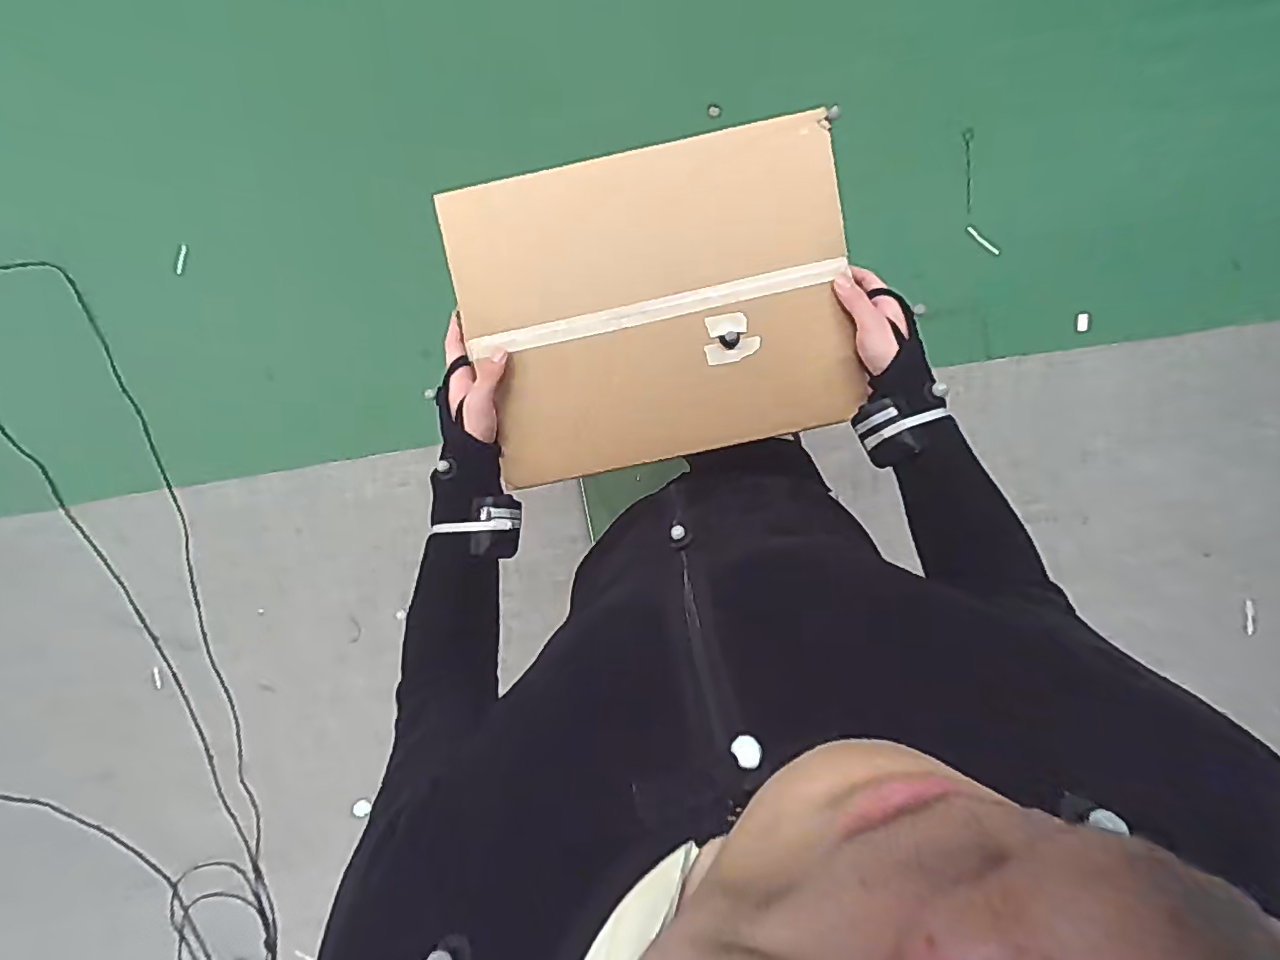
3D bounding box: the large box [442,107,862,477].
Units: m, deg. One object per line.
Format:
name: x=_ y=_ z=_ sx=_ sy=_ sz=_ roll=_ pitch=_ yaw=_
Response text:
large box: x=0.015 y=-0.210 z=0.722 sx=0.408 sy=0.320 sz=0.320 roll=-12 pitch=98 yaw=1
